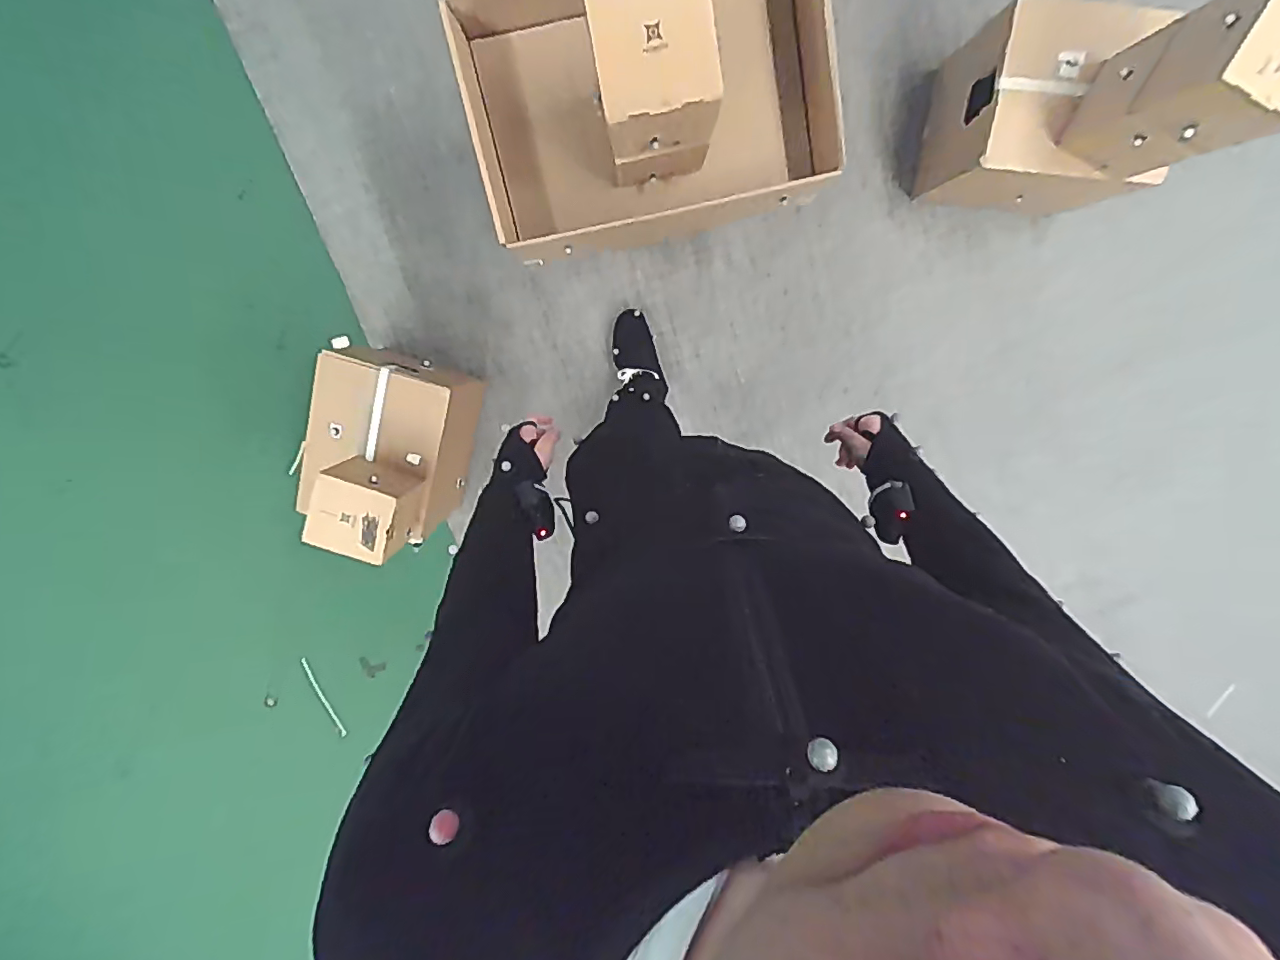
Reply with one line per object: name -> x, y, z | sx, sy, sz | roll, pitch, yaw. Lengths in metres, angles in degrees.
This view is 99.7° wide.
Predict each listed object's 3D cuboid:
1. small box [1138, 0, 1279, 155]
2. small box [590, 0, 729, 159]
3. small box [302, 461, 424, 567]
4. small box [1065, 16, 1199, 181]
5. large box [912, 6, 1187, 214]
small box -> 0.988, -0.675, 0.882 | 0.168, 0.176, 0.179 | 23, 105, -6
small box -> 0.025, -0.601, 0.787 | 0.168, 0.176, 0.179 | -11, 105, 3
small box -> -0.614, 0.069, 1.219 | 0.179, 0.176, 0.168 | 19, 102, -5
small box -> 0.984, -0.718, 1.042 | 0.168, 0.176, 0.179 | 24, 104, -6
large box -> 0.932, -0.830, 1.266 | 0.408, 0.320, 0.320 | 4, 104, -1
